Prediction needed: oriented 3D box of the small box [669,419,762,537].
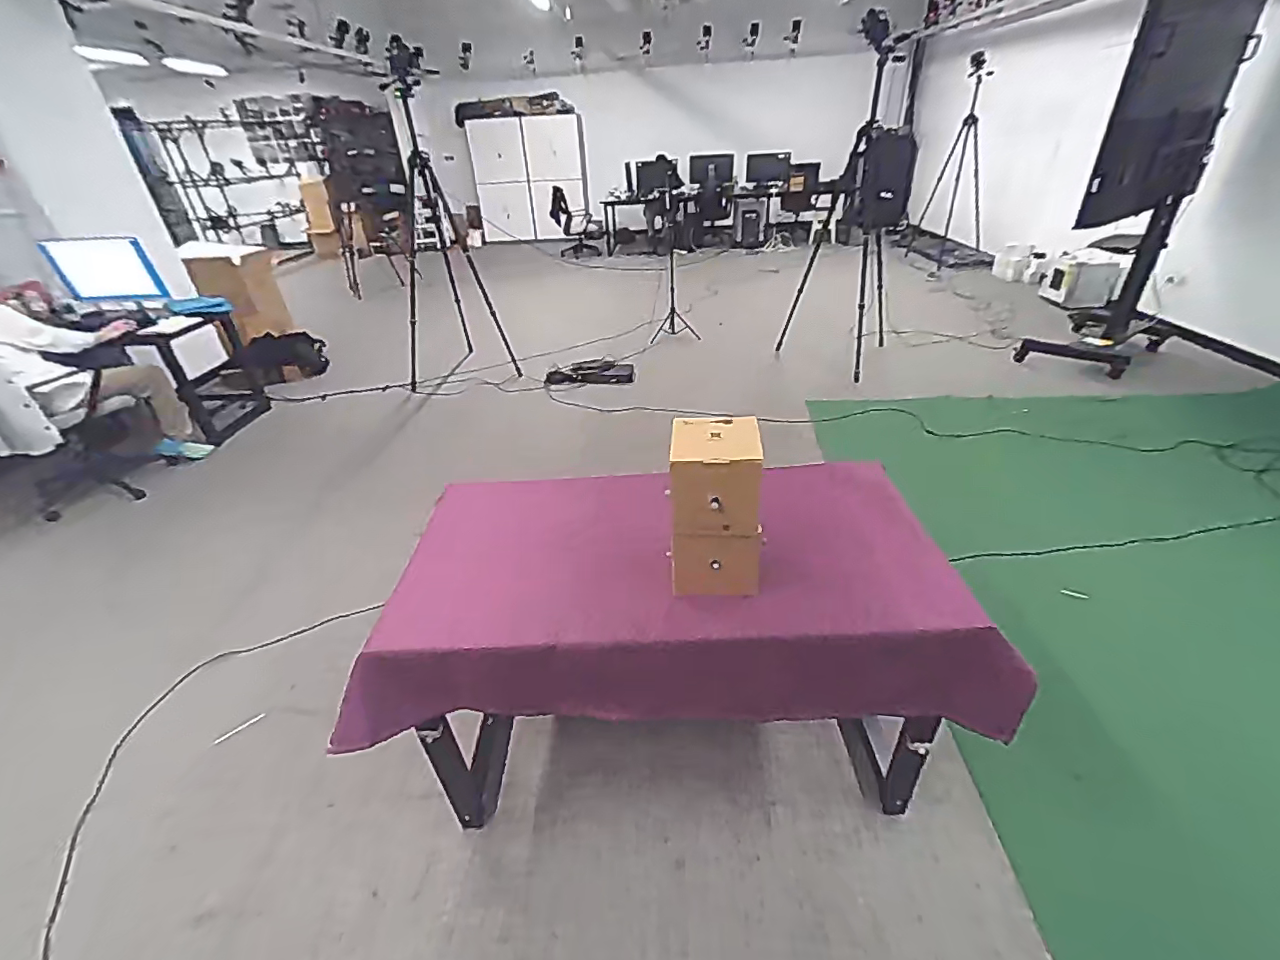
[{"bbox_3d":[0.147,-0.004,1.051,0.168,0.176,0.179,1,33,7],"label":"small box"}]
